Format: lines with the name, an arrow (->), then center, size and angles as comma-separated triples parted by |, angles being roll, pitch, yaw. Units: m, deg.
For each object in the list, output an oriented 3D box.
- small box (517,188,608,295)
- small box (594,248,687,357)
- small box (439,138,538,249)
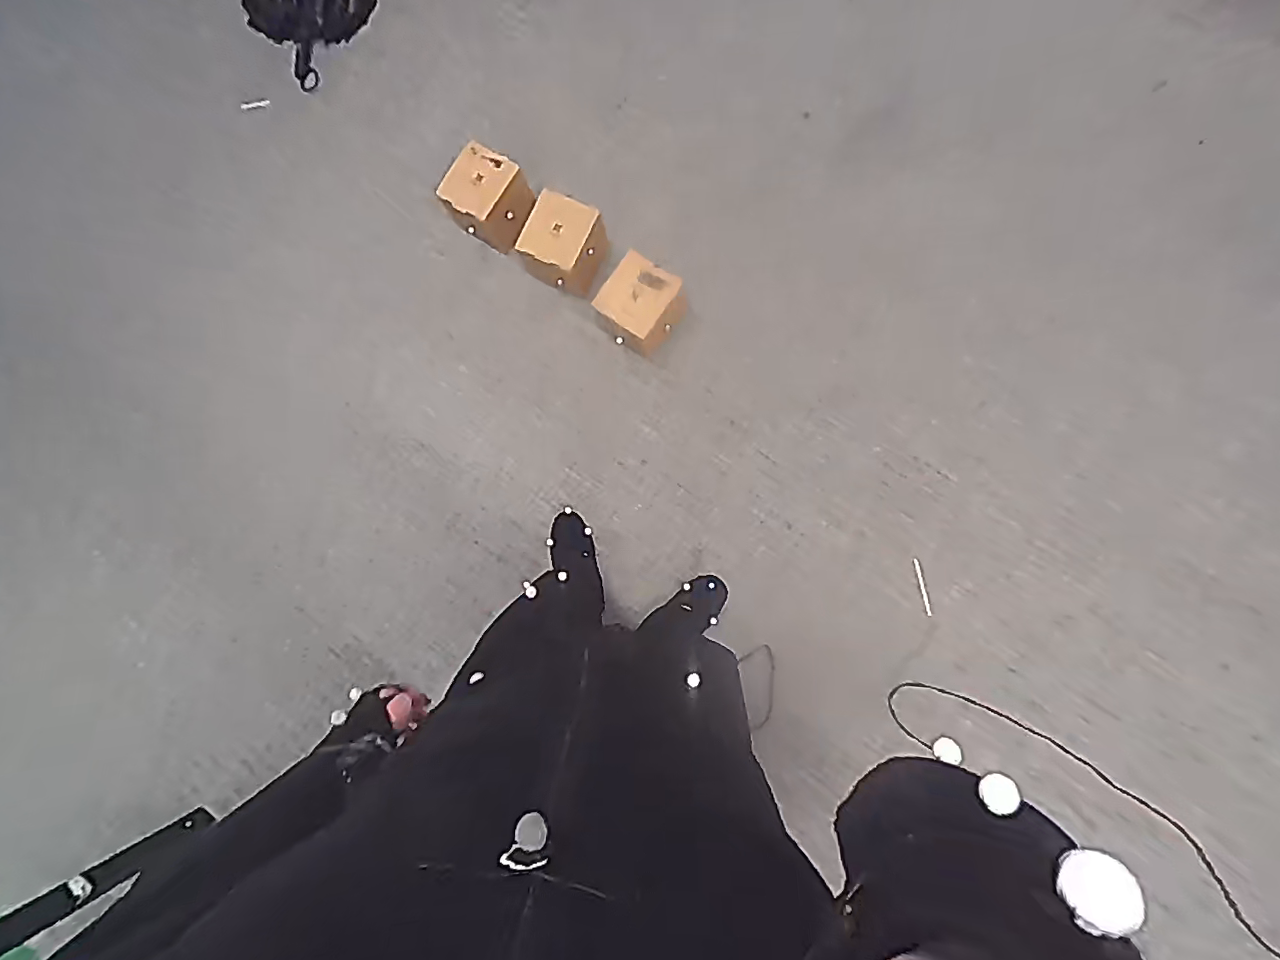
small box -> -0.196, -0.626, 1.439 | 0.168, 0.176, 0.179 | 25, 86, 7
small box -> 0.007, -0.449, 1.393 | 0.168, 0.176, 0.179 | 36, 90, 10
small box -> -0.404, -0.771, 1.478 | 0.168, 0.176, 0.179 | 33, 89, 9
